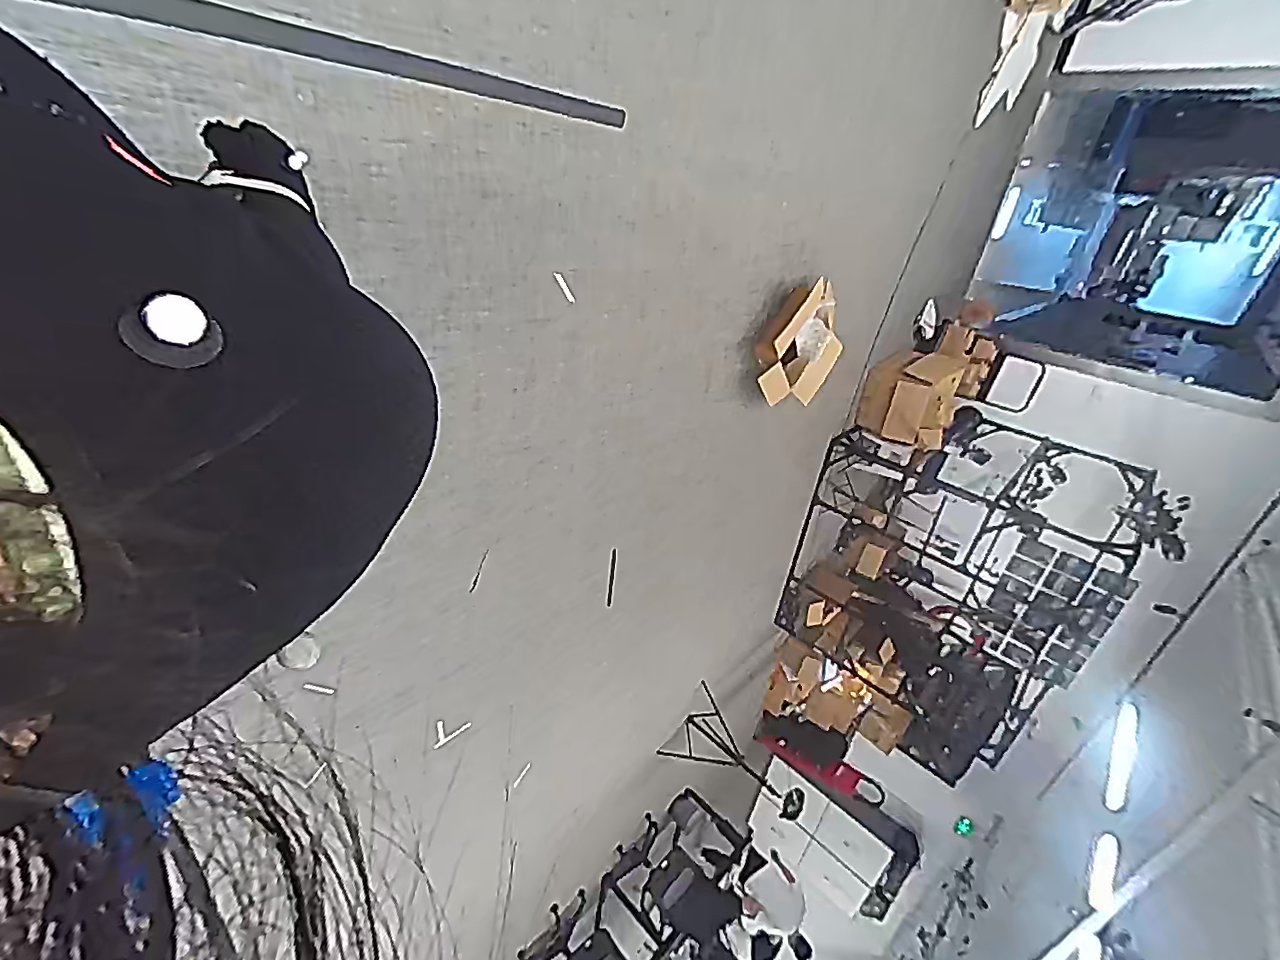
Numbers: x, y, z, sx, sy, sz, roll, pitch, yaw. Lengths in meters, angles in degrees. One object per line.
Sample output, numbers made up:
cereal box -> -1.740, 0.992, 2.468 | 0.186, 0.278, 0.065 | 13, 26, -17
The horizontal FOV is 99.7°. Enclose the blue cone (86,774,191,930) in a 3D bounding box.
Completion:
blue cone -> -1.255, 0.986, 1.397 | 0.193, 0.380, 0.192 | -23, 131, -41
